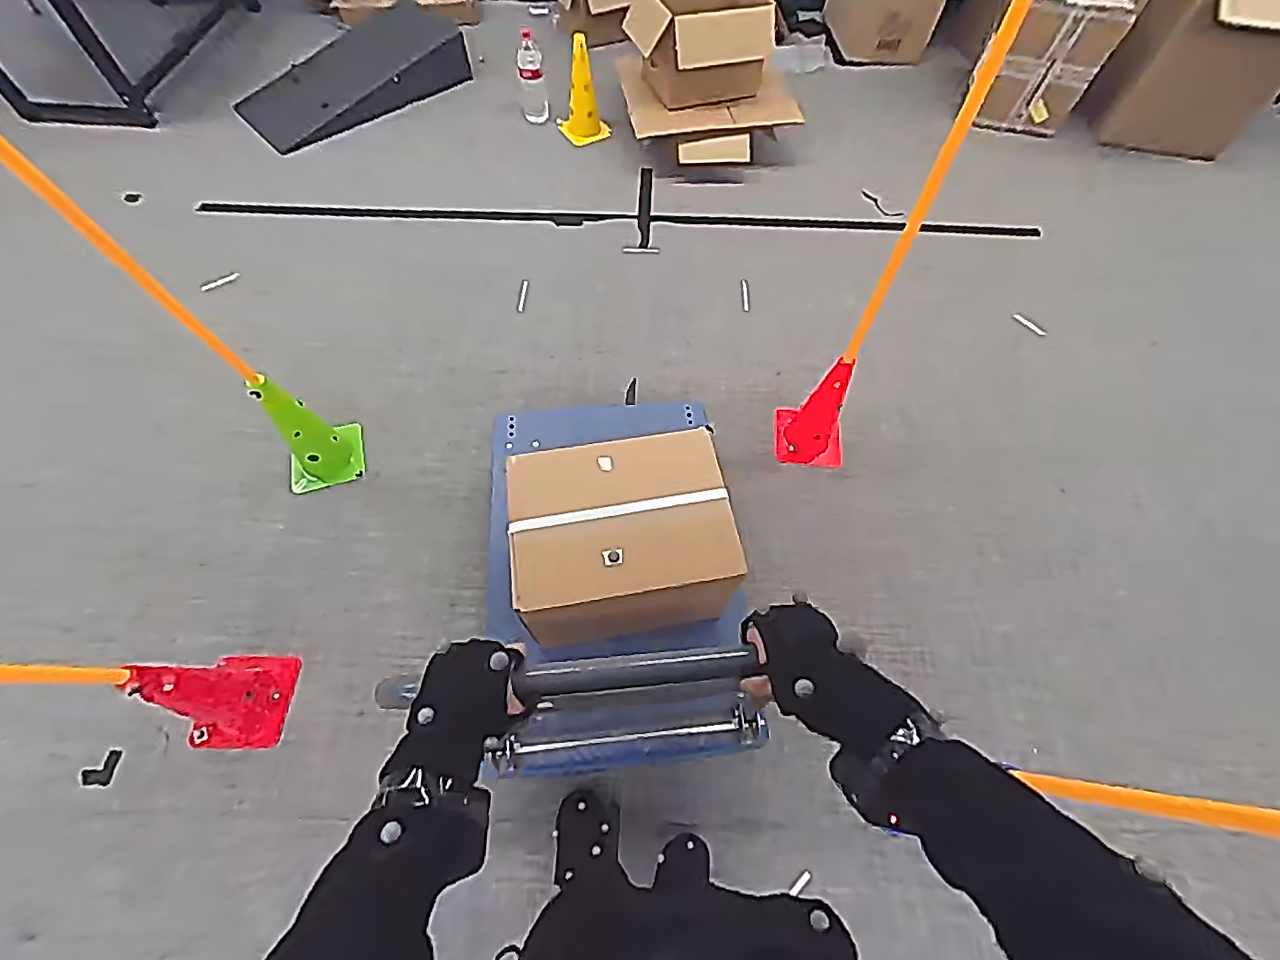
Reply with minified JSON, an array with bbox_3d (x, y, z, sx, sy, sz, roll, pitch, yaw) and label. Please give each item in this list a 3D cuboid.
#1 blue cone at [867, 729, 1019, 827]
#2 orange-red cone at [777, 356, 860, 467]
[{"bbox_3d":[0.627,0.588,1.078,0.193,0.380,0.192,-1,60,-3],"label":"blue cone"},{"bbox_3d":[0.528,-0.214,1.501,0.199,0.360,0.198,8,62,2],"label":"orange-red cone"}]
